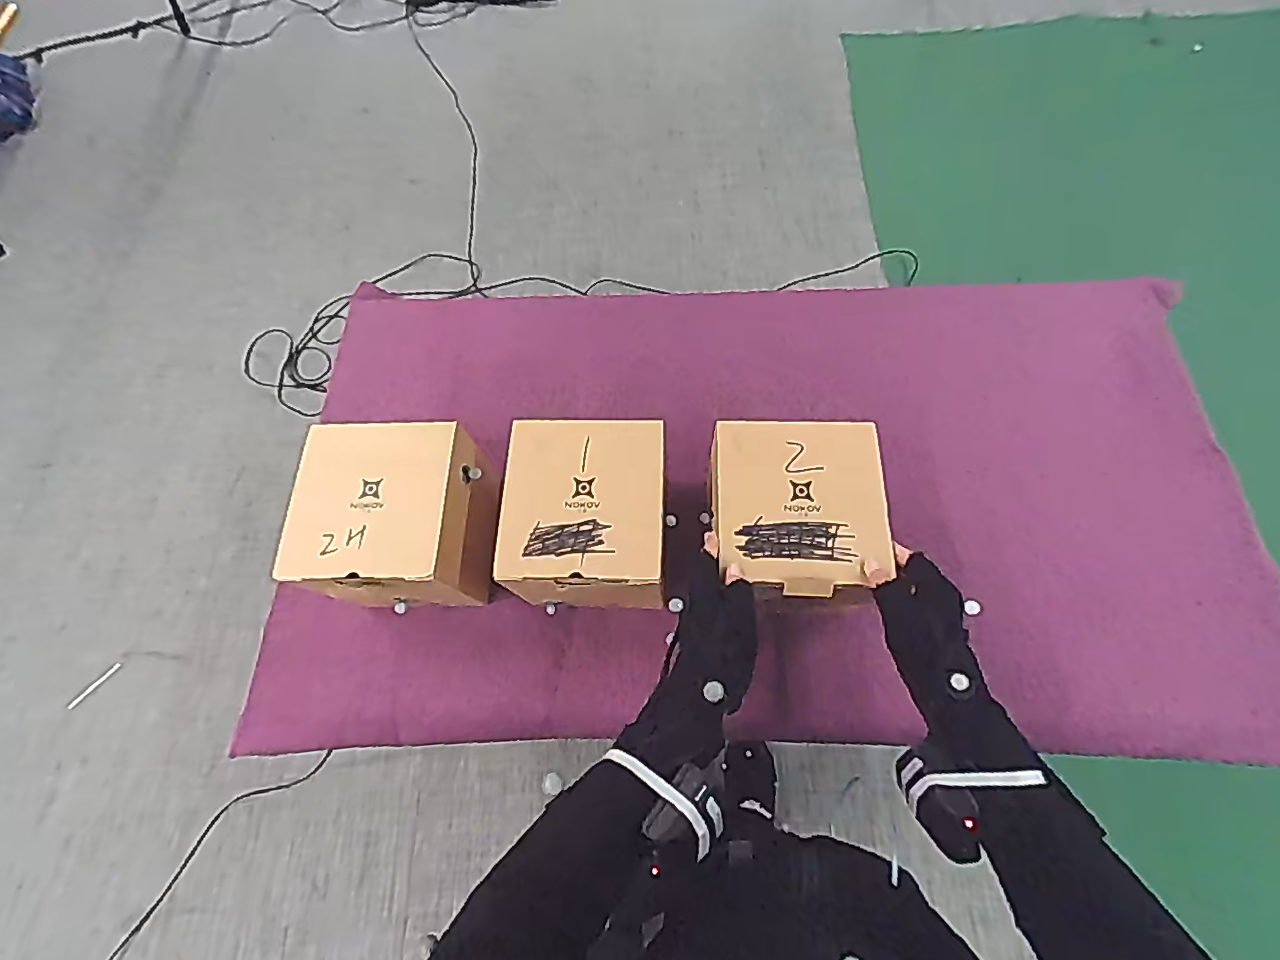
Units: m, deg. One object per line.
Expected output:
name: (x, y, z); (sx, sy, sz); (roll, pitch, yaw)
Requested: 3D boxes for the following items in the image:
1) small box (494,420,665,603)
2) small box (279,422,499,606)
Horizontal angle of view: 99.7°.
small box: (-0.056, 0.045, 0.630); (0.168, 0.176, 0.179); (0, 68, 4)
small box: (-0.276, 0.046, 0.642); (0.168, 0.176, 0.179); (-1, 68, 4)
